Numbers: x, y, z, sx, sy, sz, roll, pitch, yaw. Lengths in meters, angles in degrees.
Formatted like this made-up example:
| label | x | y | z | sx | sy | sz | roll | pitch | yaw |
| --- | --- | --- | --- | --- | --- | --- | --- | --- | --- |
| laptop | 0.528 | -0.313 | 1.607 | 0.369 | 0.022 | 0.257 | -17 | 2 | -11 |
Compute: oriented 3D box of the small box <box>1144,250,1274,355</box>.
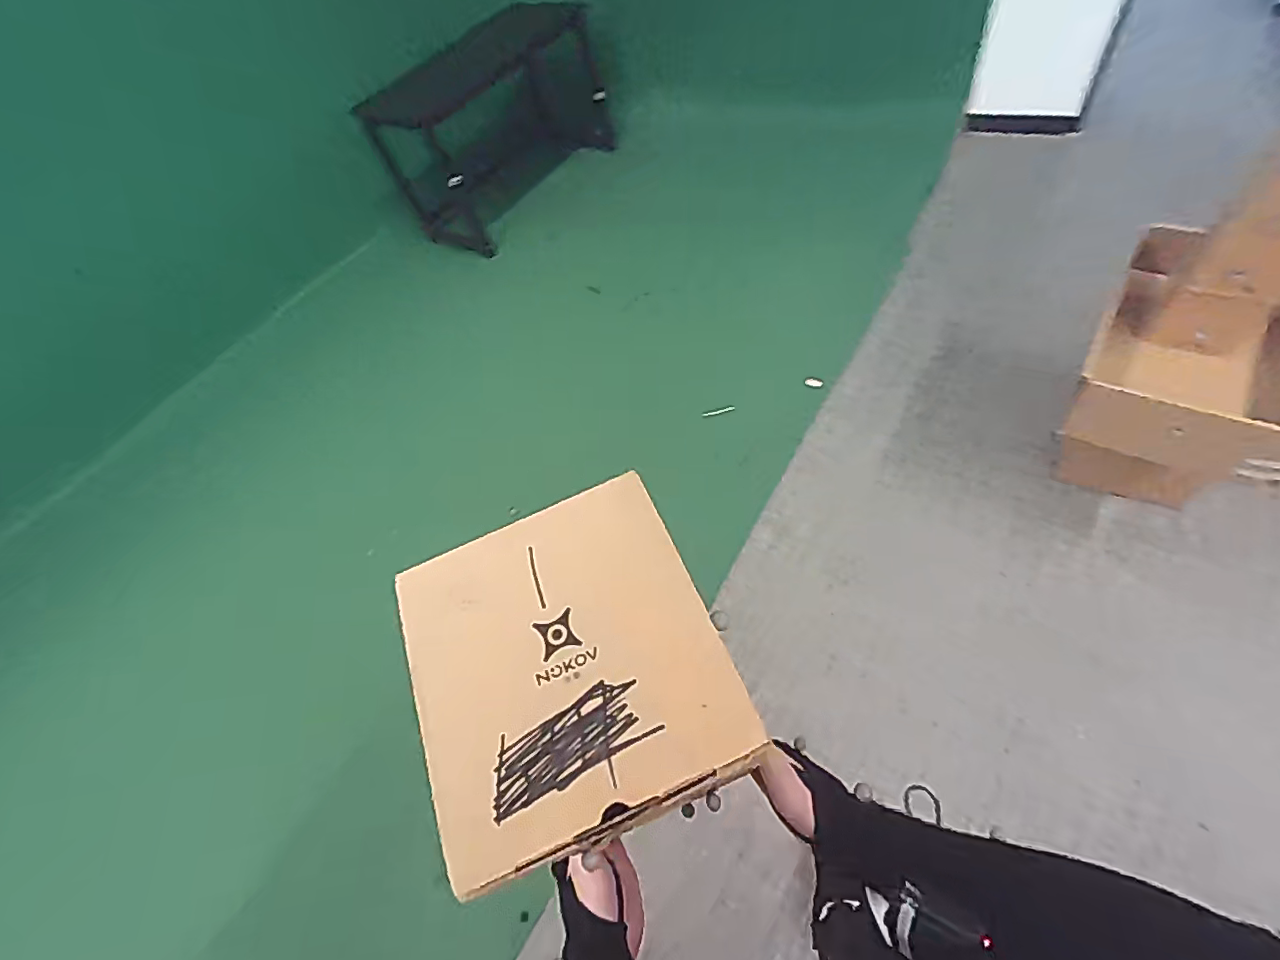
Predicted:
| label | x | y | z | sx | sy | sz | roll | pitch | yaw |
| --- | --- | --- | --- | --- | --- | --- | --- | --- | --- |
| small box | 1.359 | -0.434 | 1.290 | 0.168 | 0.176 | 0.179 | 25 | 68 | 28 |

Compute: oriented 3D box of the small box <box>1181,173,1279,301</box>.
| label | x | y | z | sx | sy | sz | roll | pitch | yaw |
| --- | --- | --- | --- | --- | --- | --- | --- | --- | --- |
| small box | 1.320 | -0.518 | 1.157 | 0.168 | 0.176 | 0.179 | 25 | 68 | 27 |

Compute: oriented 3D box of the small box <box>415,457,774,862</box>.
| label | x | y | z | sx | sy | sz | roll | pitch | yaw |
| --- | --- | --- | --- | --- | --- | --- | --- | --- | --- |
| small box | -0.024 | 0.120 | 0.371 | 0.168 | 0.176 | 0.179 | -23 | 59 | -4 |
